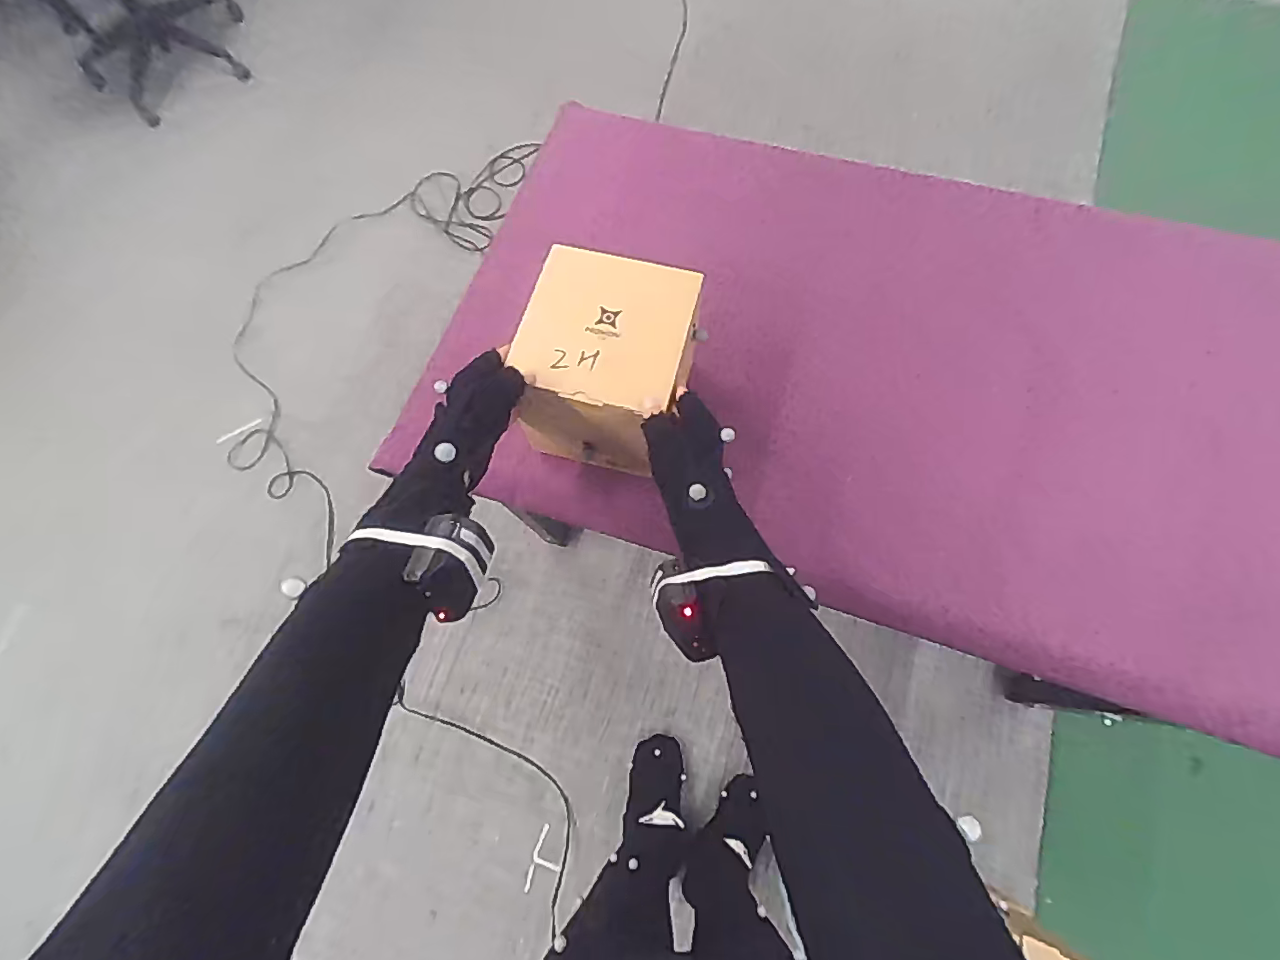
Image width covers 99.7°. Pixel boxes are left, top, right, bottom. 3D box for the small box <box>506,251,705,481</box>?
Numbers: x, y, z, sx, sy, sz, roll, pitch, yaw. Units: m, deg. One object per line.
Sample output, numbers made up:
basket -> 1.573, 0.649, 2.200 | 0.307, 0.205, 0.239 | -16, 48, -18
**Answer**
small box -> -0.032, -0.121, 0.622 | 0.168, 0.176, 0.179 | 14, 71, 6
